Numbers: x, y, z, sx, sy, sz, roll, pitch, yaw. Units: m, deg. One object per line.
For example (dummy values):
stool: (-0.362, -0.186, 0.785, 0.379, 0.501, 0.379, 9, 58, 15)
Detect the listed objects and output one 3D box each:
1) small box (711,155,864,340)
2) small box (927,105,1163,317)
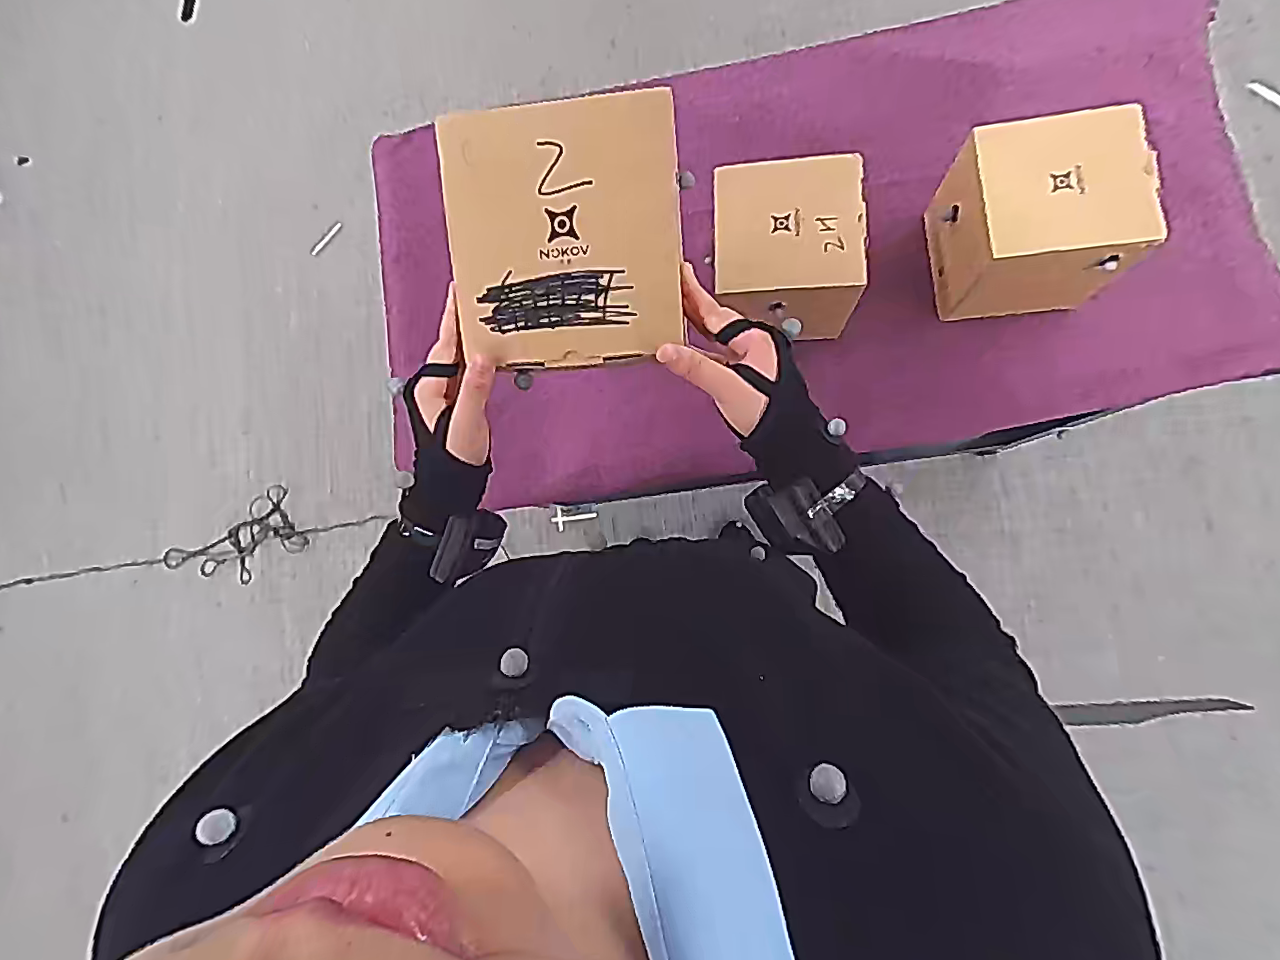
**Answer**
small box: (0.185, -0.293, 0.718, 0.179, 0.176, 0.168, 0, 84, 8)
small box: (0.481, -0.319, 0.678, 0.179, 0.176, 0.168, -4, 81, 8)
